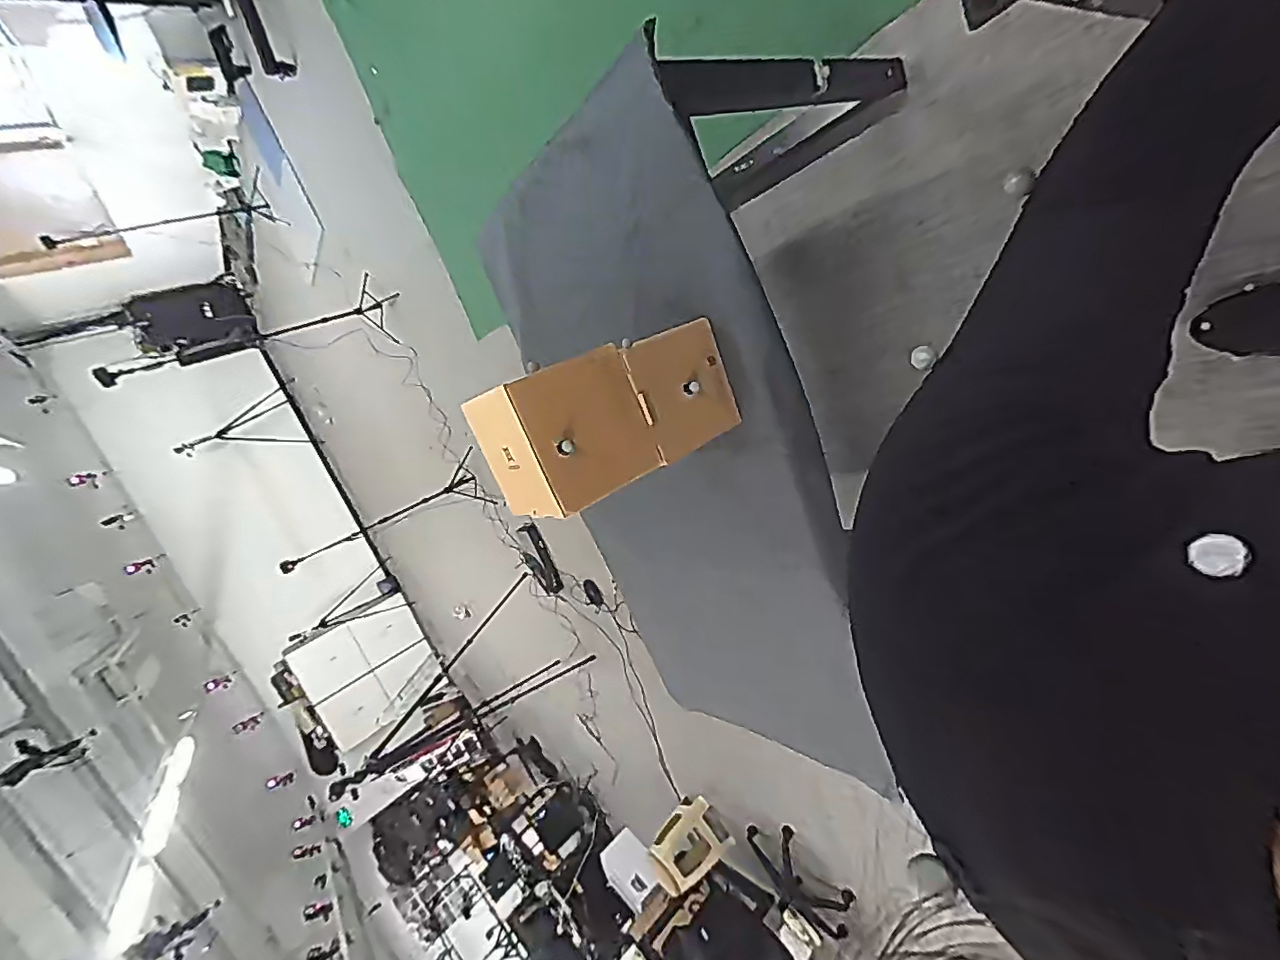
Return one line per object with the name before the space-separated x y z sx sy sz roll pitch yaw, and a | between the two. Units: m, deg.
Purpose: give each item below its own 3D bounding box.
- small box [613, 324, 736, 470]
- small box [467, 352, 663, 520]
small box | 0.024 -0.123 0.822 0.179 0.176 0.168 -2 114 54
small box | -0.099 -0.062 0.734 0.168 0.176 0.179 -4 113 55
